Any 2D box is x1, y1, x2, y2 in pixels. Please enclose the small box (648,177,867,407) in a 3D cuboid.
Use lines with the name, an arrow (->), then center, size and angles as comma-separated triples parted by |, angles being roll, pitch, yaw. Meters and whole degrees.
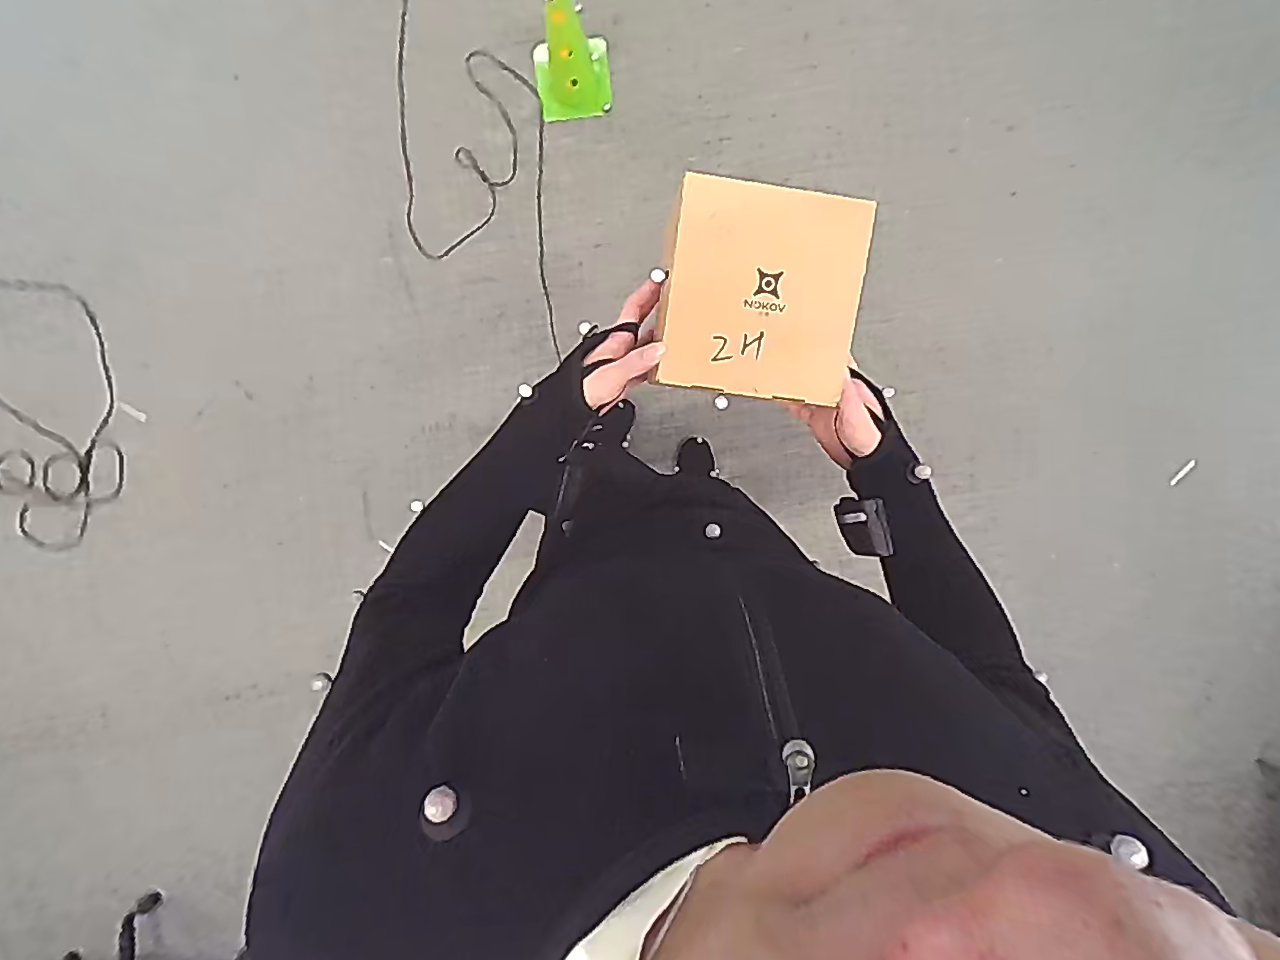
small box -> 0.102, -0.174, 0.552 | 0.168, 0.176, 0.179 | 7, 100, -3

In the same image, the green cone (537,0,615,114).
green cone -> -0.178, -1.109, 1.324 | 0.202, 0.368, 0.200 | -6, 96, 2
